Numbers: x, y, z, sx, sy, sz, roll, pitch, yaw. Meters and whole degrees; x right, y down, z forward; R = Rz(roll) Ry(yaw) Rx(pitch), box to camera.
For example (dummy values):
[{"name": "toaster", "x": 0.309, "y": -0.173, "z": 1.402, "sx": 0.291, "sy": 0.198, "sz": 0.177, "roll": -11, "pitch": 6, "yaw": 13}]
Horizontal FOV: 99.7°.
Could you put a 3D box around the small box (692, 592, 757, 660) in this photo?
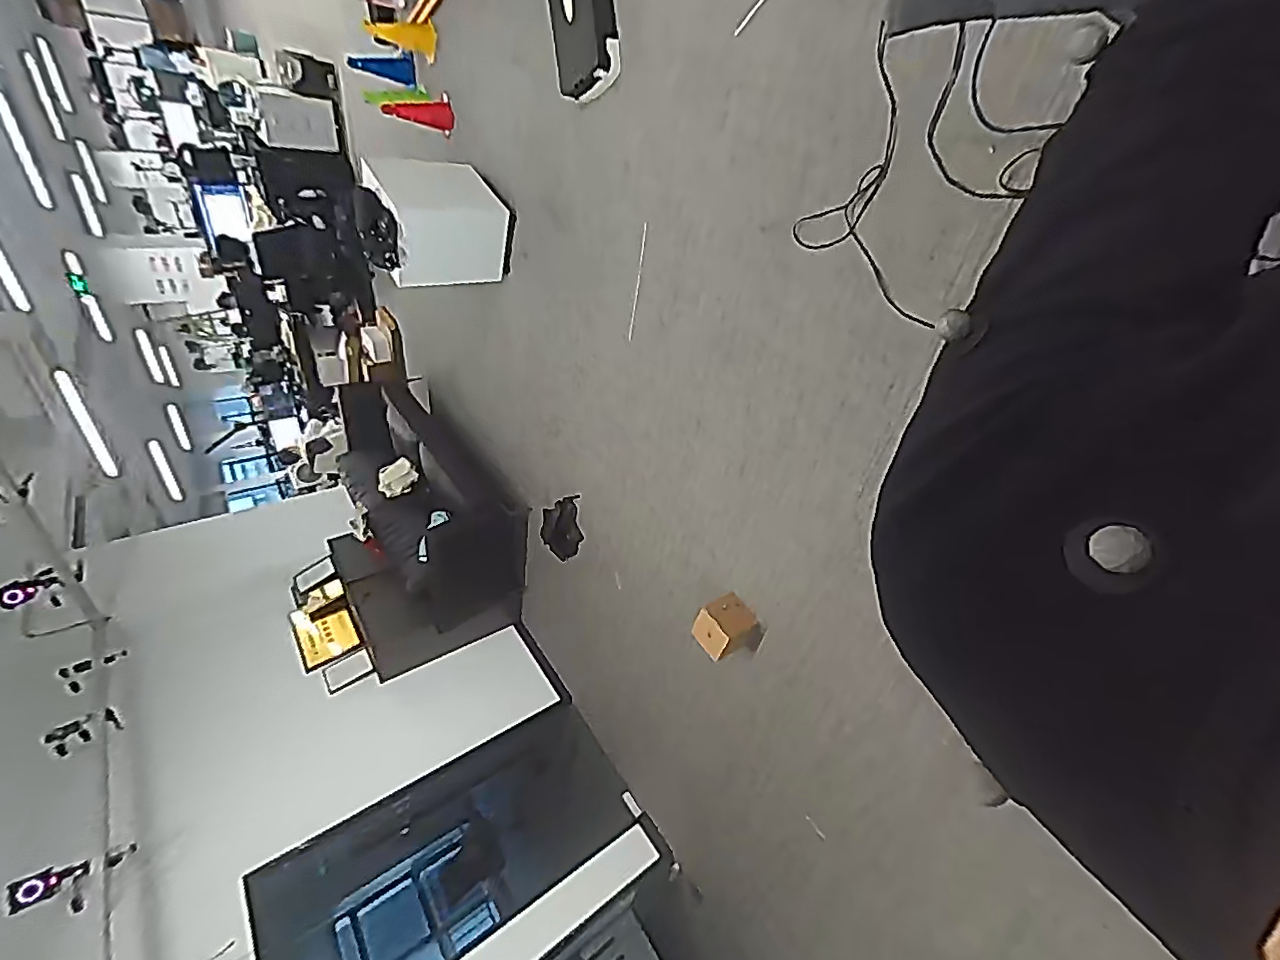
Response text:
[{"name": "small box", "x": 0.341, "y": 0.577, "z": 2.161, "sx": 0.168, "sy": 0.176, "sz": 0.179, "roll": 48, "pitch": 140, "yaw": 33}]
